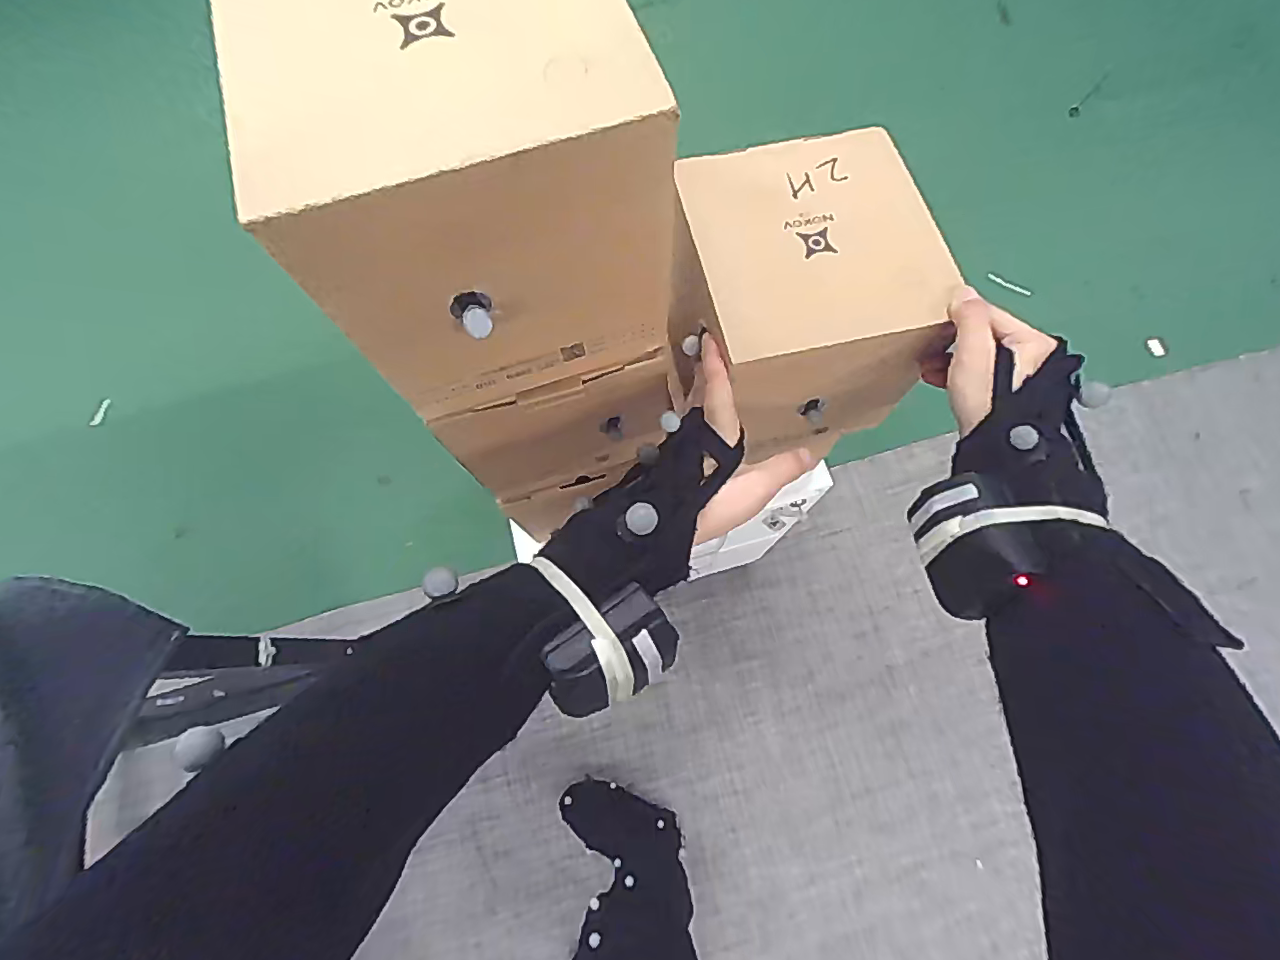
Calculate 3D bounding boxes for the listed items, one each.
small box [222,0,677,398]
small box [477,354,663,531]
[{"bbox_3d":[-0.085,-0.164,0.300,0.168,0.176,0.179,-18,72,-5],"label":"small box"},{"bbox_3d":[-0.073,-0.051,0.605,0.168,0.176,0.179,-15,71,-3],"label":"small box"}]
